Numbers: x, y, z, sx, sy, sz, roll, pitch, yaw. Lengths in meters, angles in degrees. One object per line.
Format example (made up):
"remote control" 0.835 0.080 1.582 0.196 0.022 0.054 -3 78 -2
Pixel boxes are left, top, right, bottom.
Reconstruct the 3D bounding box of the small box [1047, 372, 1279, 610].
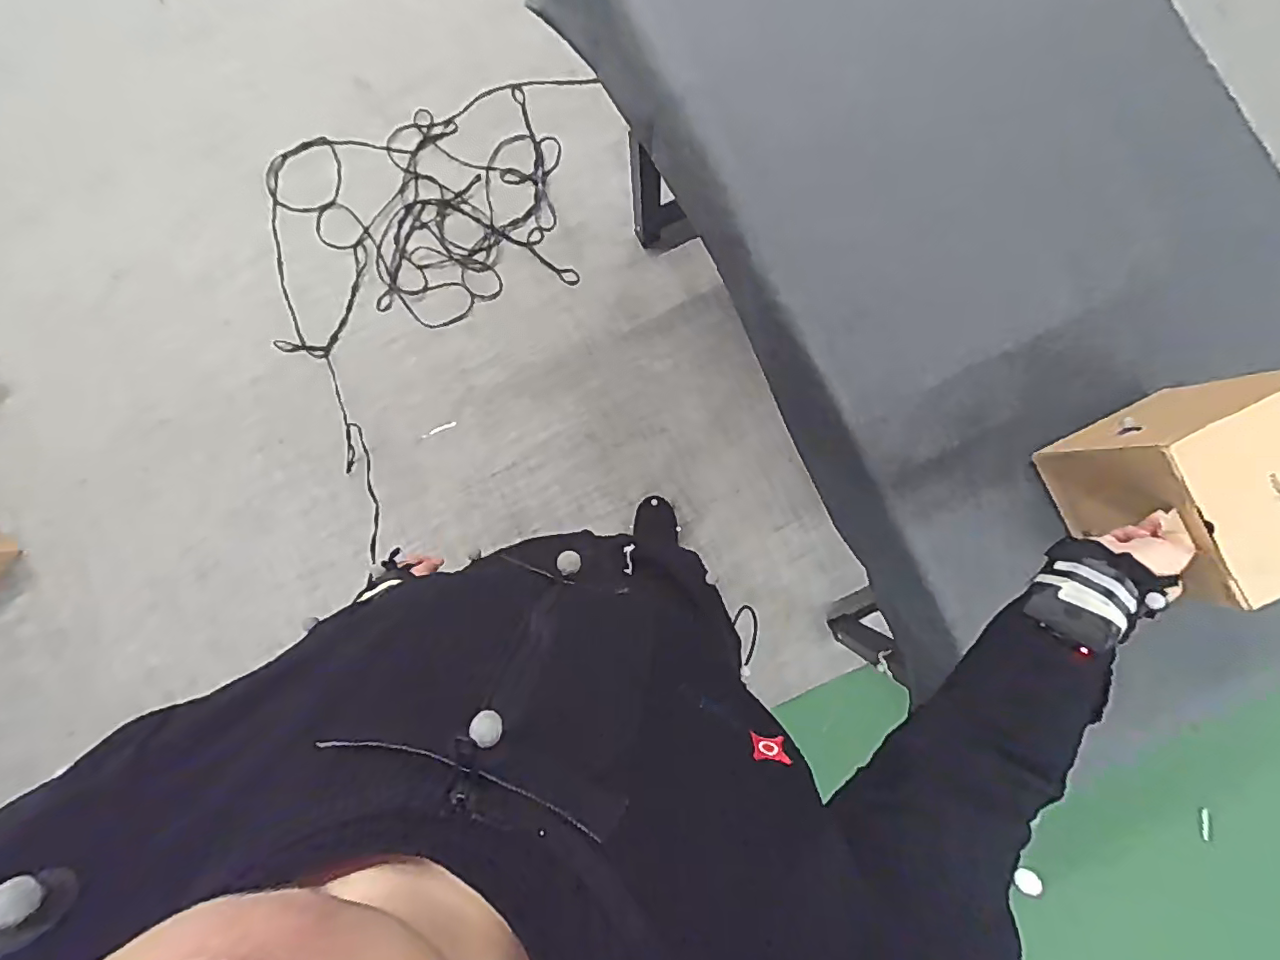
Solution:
"small box" 0.569 0.008 0.553 0.179 0.176 0.168 -27 90 -1
